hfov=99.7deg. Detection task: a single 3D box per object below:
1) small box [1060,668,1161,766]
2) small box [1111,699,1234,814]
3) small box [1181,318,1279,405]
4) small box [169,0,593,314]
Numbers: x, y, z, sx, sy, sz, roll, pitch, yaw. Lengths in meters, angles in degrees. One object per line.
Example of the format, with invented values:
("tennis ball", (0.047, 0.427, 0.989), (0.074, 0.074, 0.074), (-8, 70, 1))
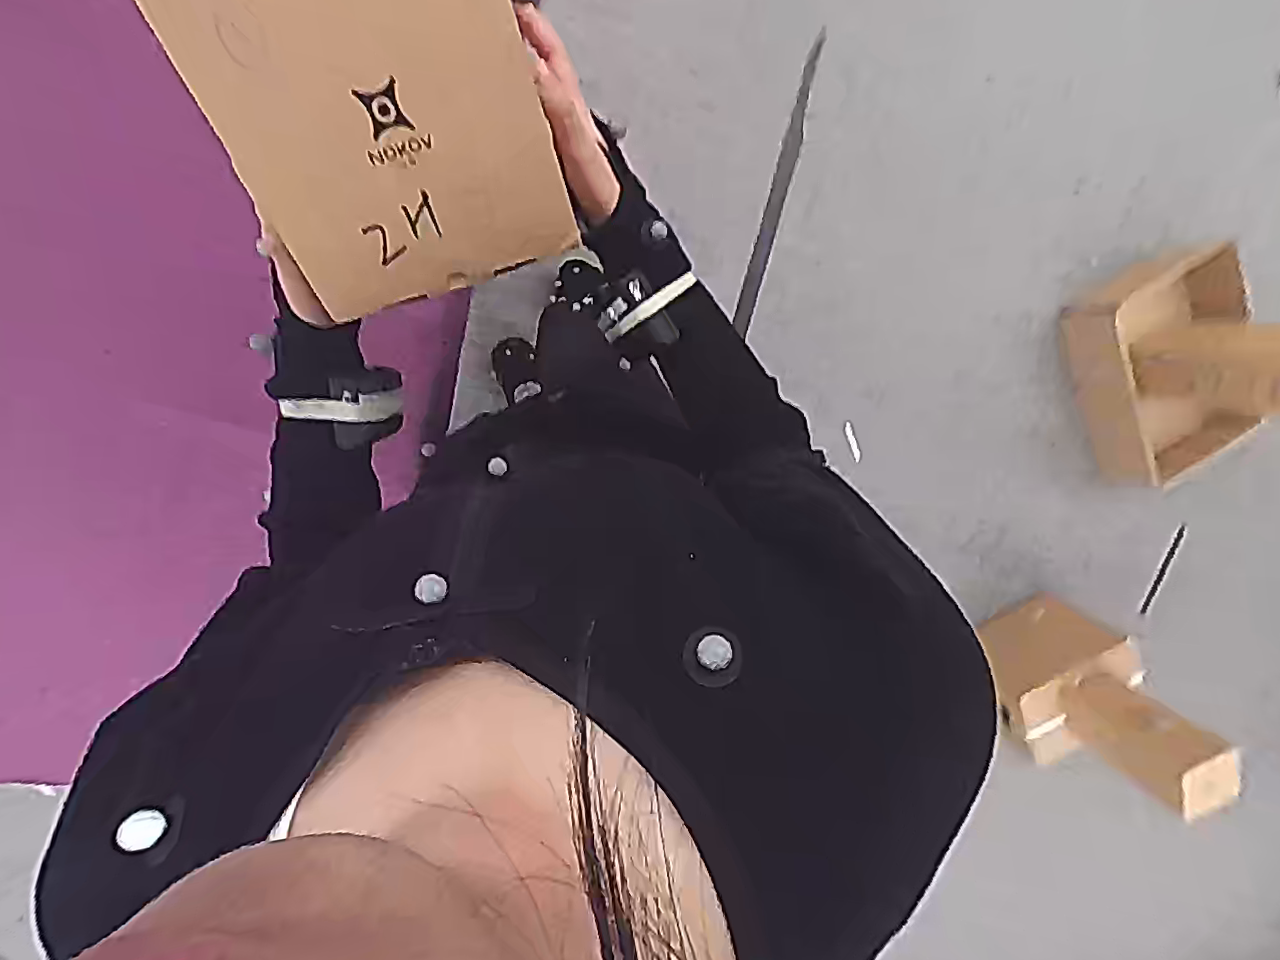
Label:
("small box", (1.379, 0.683, 1.586), (0.168, 0.176, 0.179), (-27, 109, -2))
("small box", (1.403, 0.724, 1.431), (0.168, 0.176, 0.179), (-25, 108, -3))
("small box", (1.607, -0.319, 1.448), (0.179, 0.176, 0.168), (-28, 110, -2))
("small box", (-0.141, -0.237, 0.353), (0.168, 0.176, 0.179), (-17, 127, -2))
